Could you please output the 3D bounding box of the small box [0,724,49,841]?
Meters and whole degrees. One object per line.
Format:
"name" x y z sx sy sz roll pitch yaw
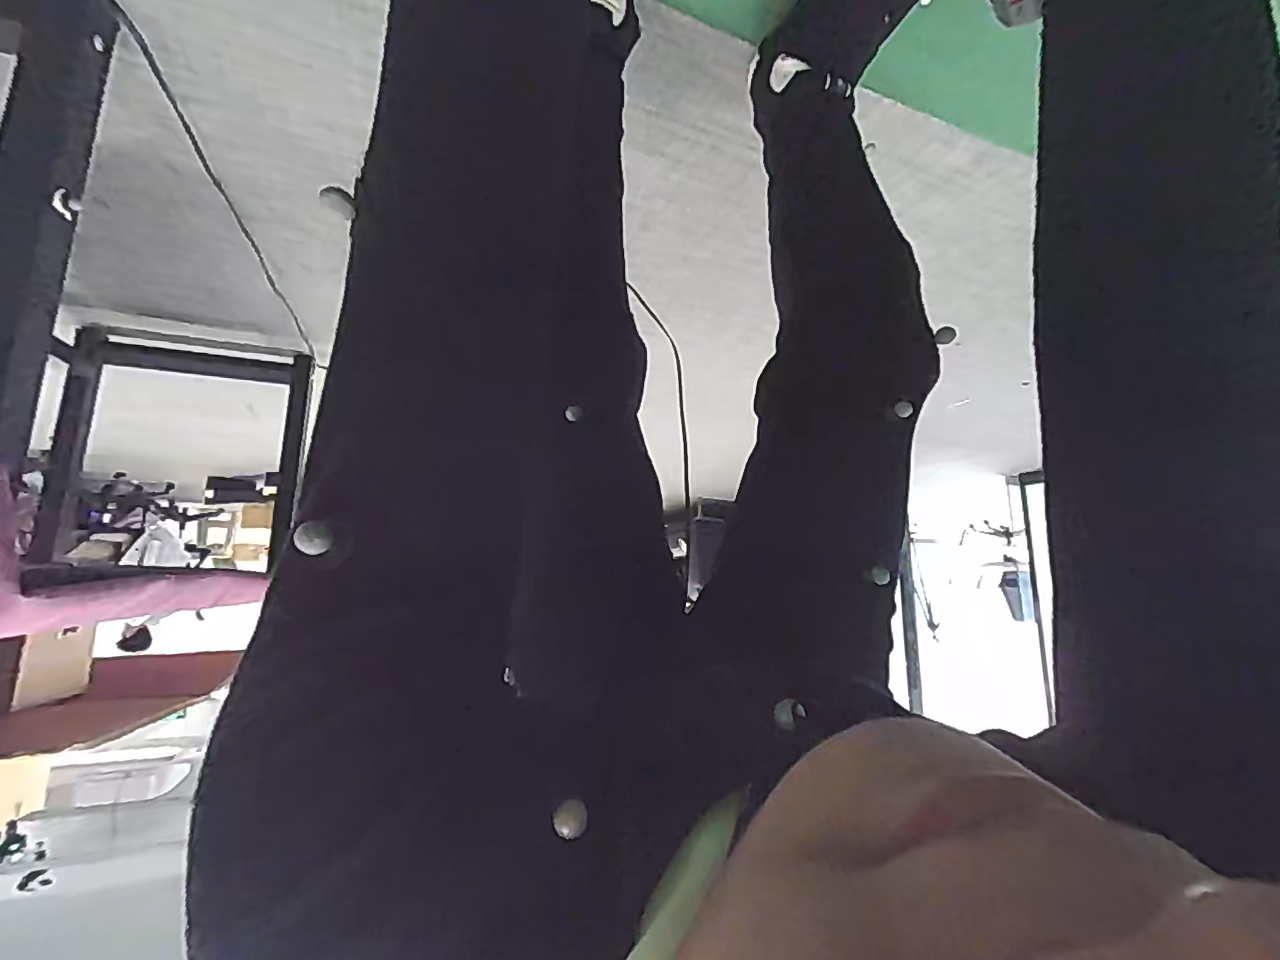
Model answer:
"small box" -1.095 0.489 0.850 0.179 0.176 0.168 4 166 -17
